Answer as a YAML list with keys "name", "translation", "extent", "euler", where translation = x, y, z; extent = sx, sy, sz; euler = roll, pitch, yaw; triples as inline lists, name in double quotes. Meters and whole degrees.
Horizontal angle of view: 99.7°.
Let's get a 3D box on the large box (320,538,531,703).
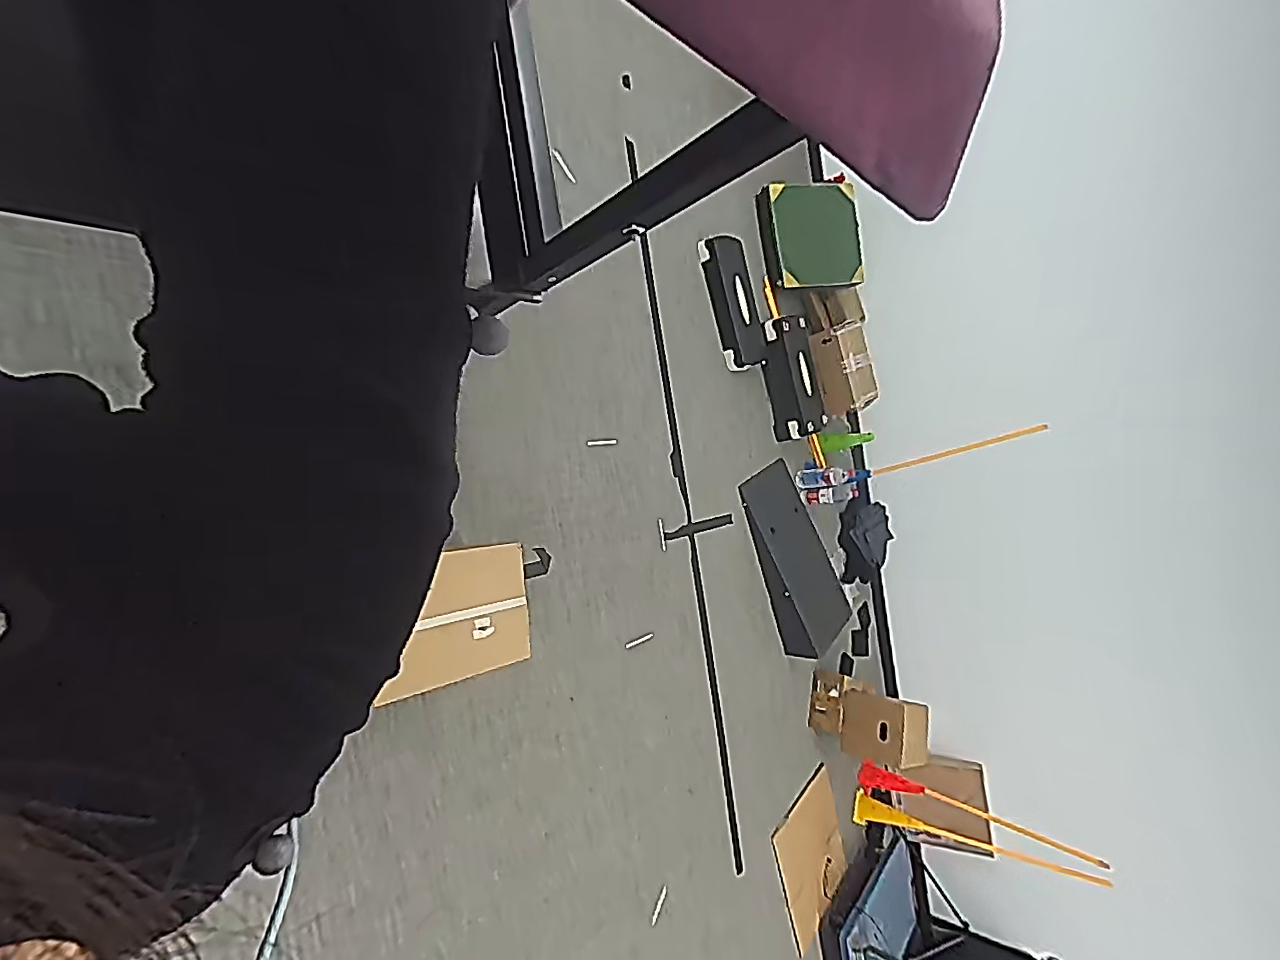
- name: "large box"
  translation: [-0.549, 0.331, 1.397]
  extent: [0.408, 0.320, 0.320]
  euler: [-4, 88, -47]
